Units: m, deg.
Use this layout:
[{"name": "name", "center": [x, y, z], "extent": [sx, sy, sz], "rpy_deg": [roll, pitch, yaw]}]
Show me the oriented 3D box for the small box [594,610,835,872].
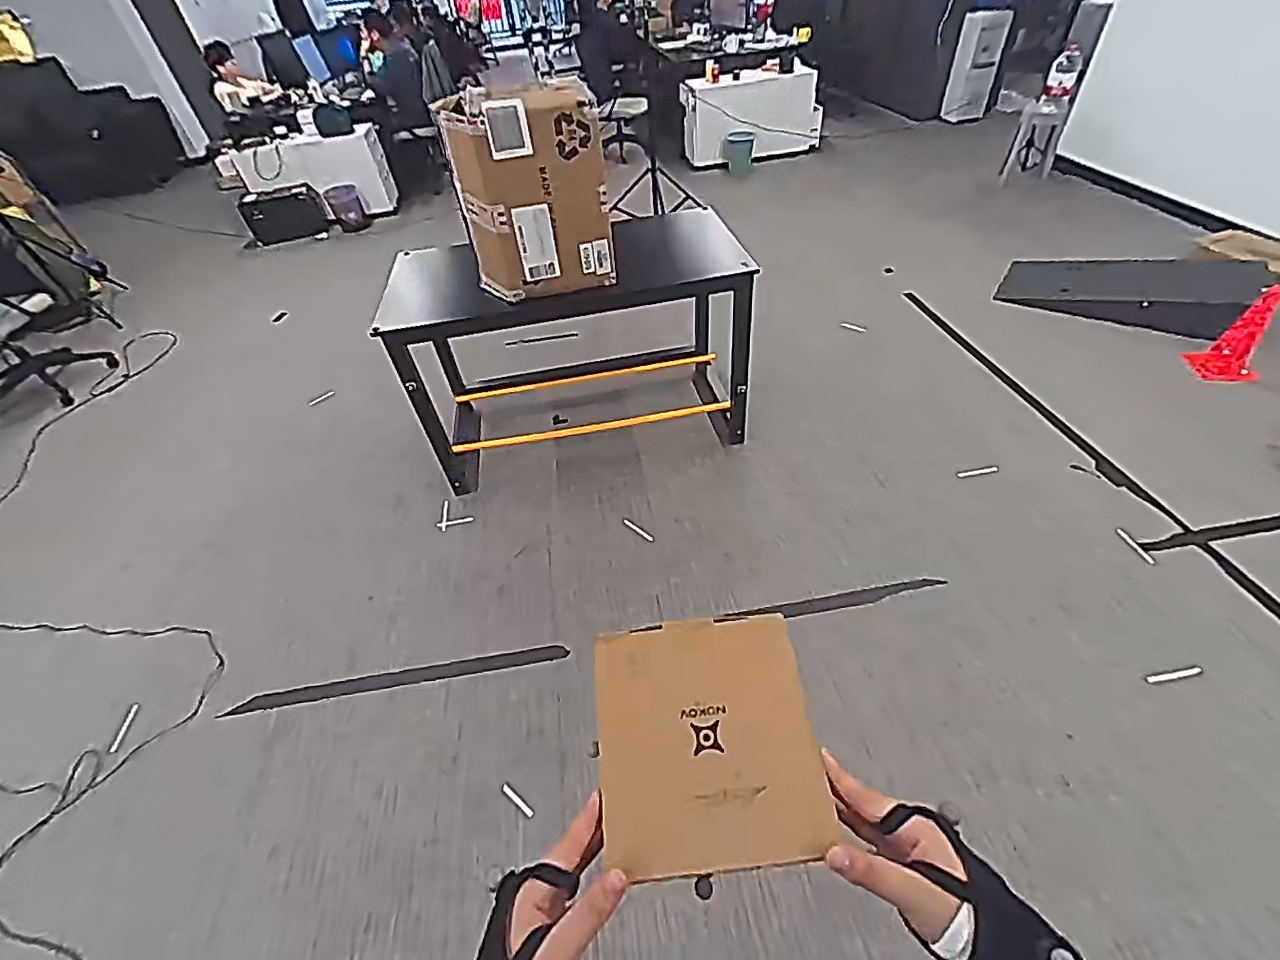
[{"name": "small box", "center": [0.050, 0.237, 0.483], "extent": [0.168, 0.176, 0.179], "rpy_deg": [-6, 55, -1]}]
